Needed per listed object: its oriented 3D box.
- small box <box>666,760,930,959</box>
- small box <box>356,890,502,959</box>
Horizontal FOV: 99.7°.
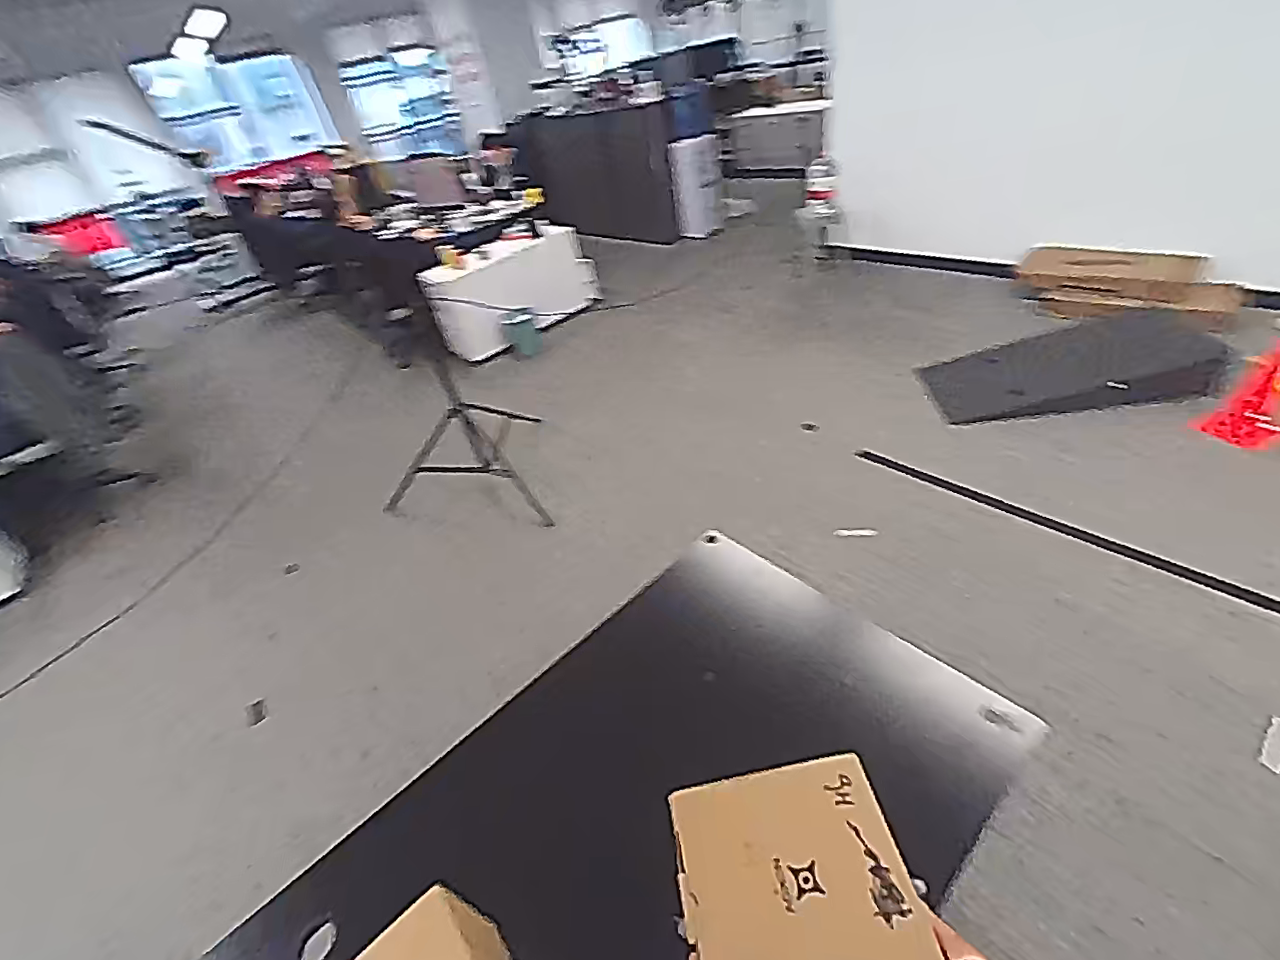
[{"bbox_3d":[0.131,0.383,0.485,0.179,0.176,0.168,-12,42,1],"label":"small box"},{"bbox_3d":[-0.214,0.569,0.533,0.179,0.176,0.168,-36,43,-26],"label":"small box"}]
